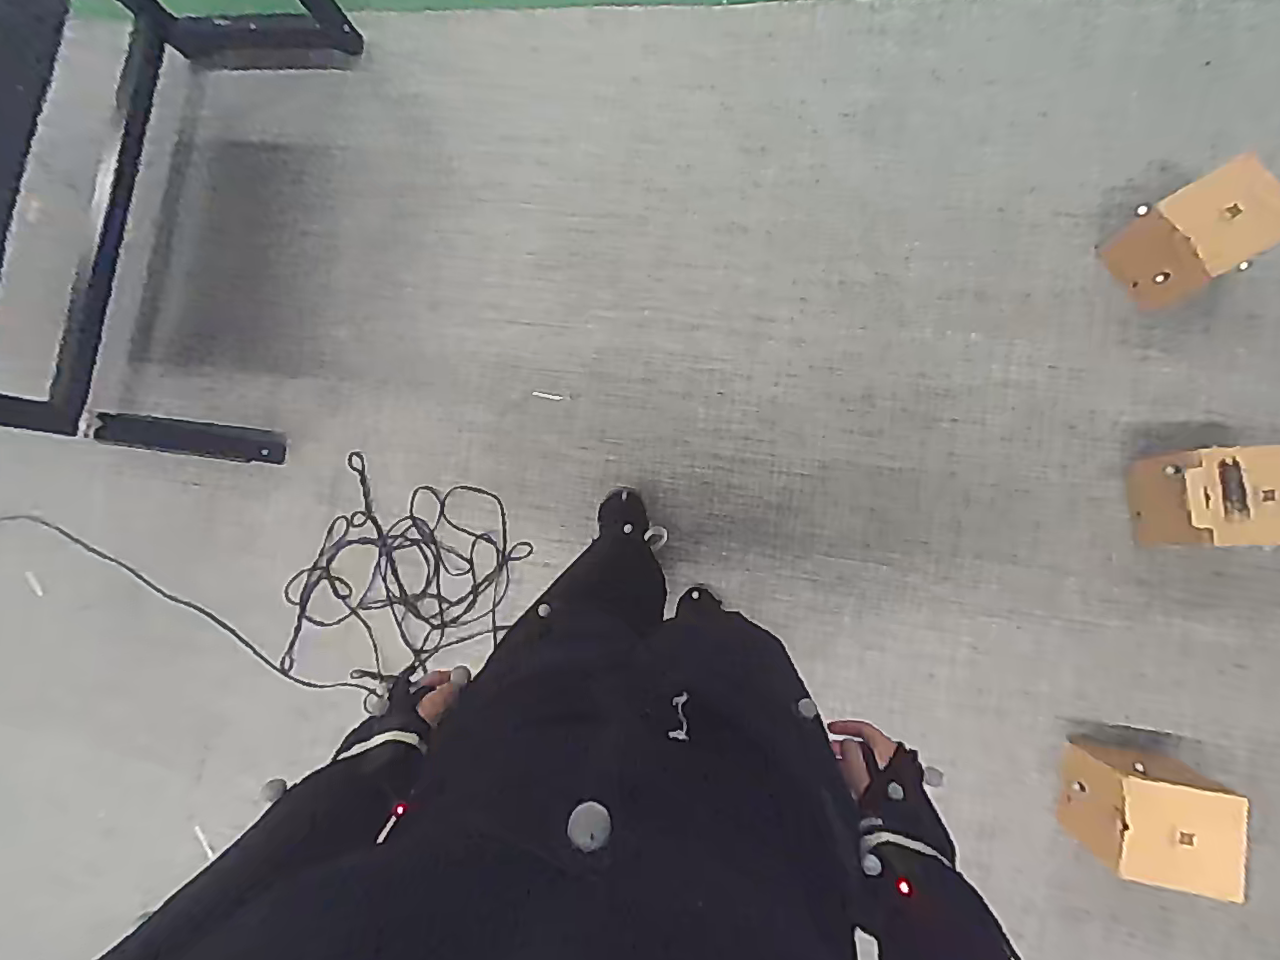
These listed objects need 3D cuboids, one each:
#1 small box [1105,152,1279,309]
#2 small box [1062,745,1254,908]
[{"bbox_3d":[1.036,-0.454,1.015,0.179,0.176,0.168,-32,81,4],"label":"small box"},{"bbox_3d":[0.886,0.586,0.939,0.179,0.176,0.168,6,86,11],"label":"small box"}]
